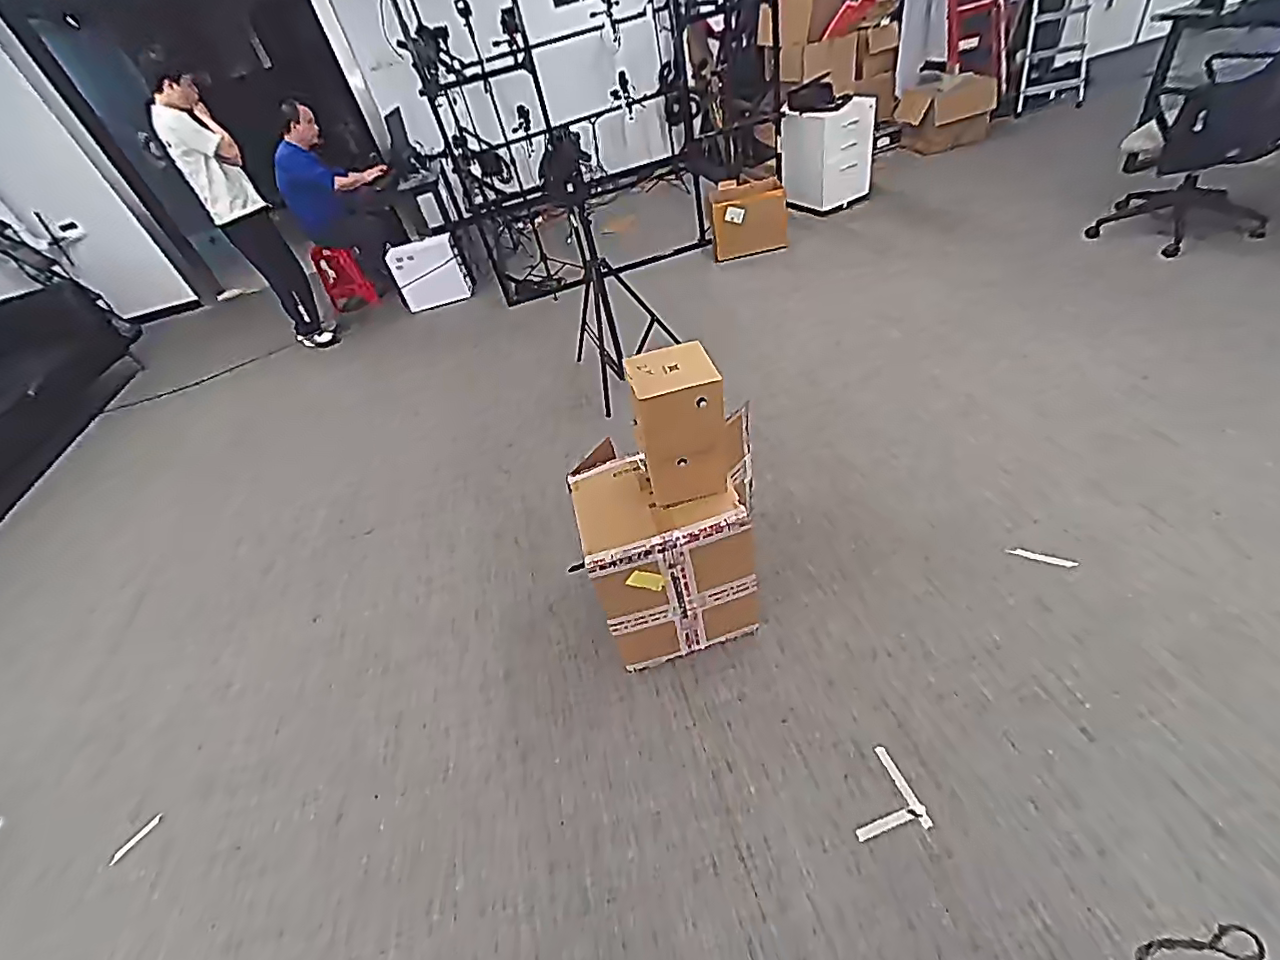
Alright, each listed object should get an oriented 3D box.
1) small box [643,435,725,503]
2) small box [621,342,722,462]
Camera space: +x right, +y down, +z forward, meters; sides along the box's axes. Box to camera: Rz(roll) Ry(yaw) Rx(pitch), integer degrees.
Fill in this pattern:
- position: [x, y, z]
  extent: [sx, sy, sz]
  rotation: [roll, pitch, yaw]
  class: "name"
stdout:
- position: [0.097, -0.065, 1.290]
  extent: [0.179, 0.176, 0.168]
  rotation: [-13, 43, 0]
  class: "small box"
- position: [0.070, -0.166, 1.160]
  extent: [0.179, 0.176, 0.168]
  rotation: [-15, 43, -2]
  class: "small box"
